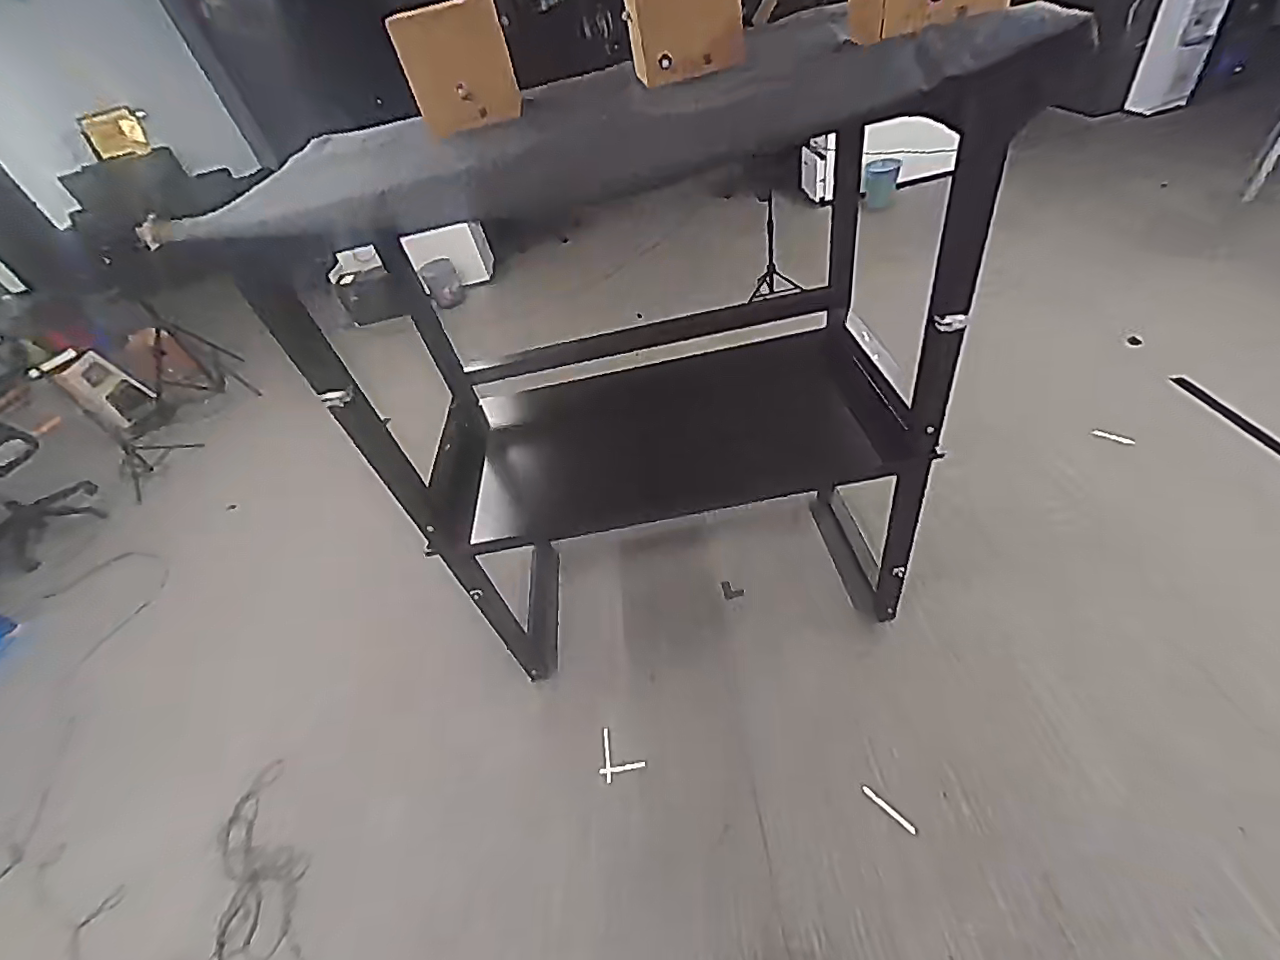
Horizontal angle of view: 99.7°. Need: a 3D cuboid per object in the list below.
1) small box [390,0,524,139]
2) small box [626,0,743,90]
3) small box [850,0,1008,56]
[{"bbox_3d":[-0.314,-0.736,0.970,0.168,0.176,0.179,-13,44,2],"label":"small box"},{"bbox_3d":[0.071,-0.784,0.915,0.168,0.176,0.179,-13,42,2],"label":"small box"},{"bbox_3d":[0.403,-0.720,0.757,0.168,0.176,0.179,-8,44,8],"label":"small box"}]
